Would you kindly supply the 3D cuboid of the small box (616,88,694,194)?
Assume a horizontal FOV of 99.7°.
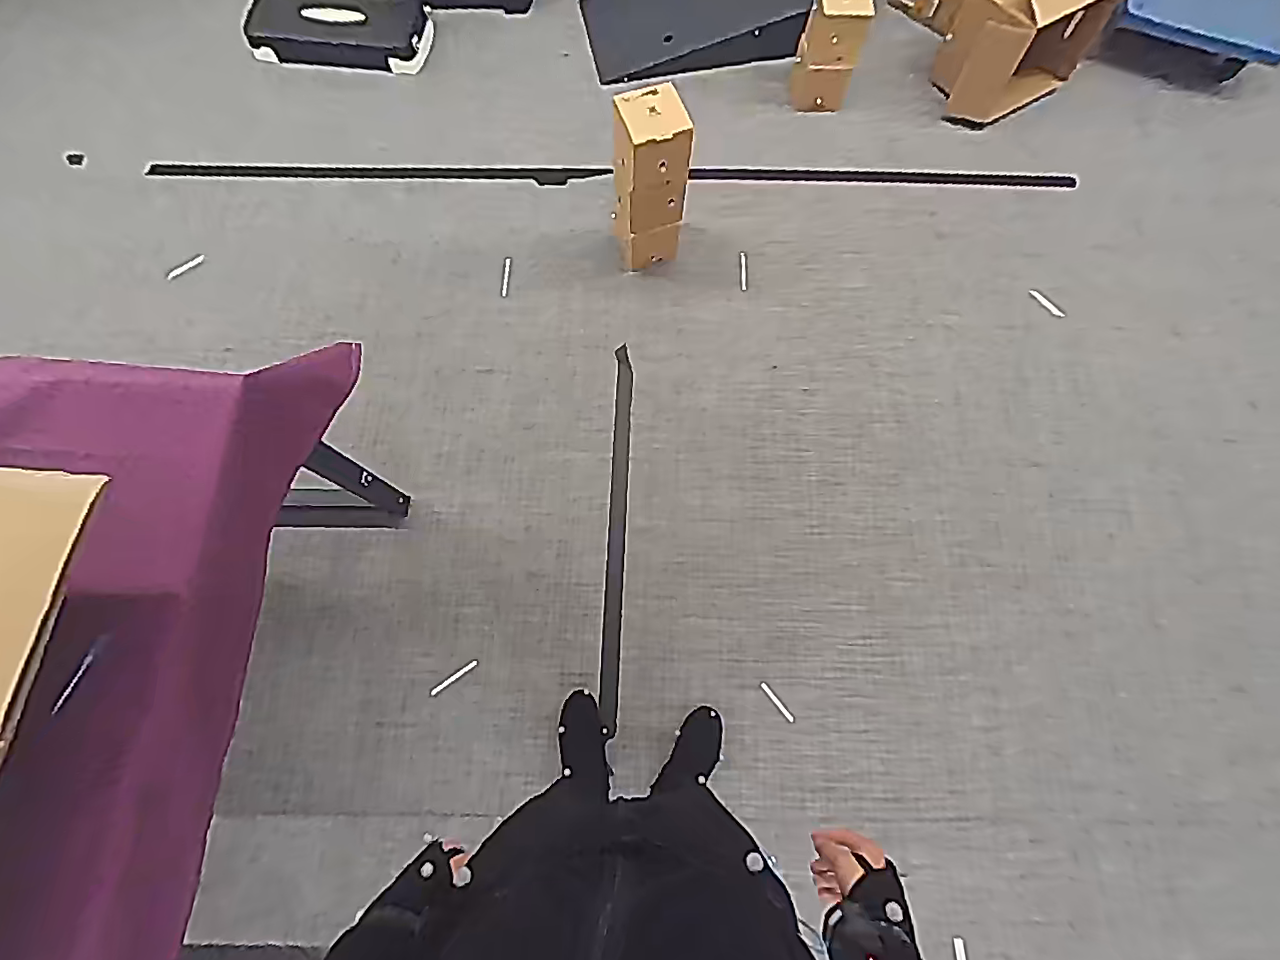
[{"bbox_3d":[0.038,-0.913,1.476,0.168,0.176,0.179,-17,74,-7],"label":"small box"}]
